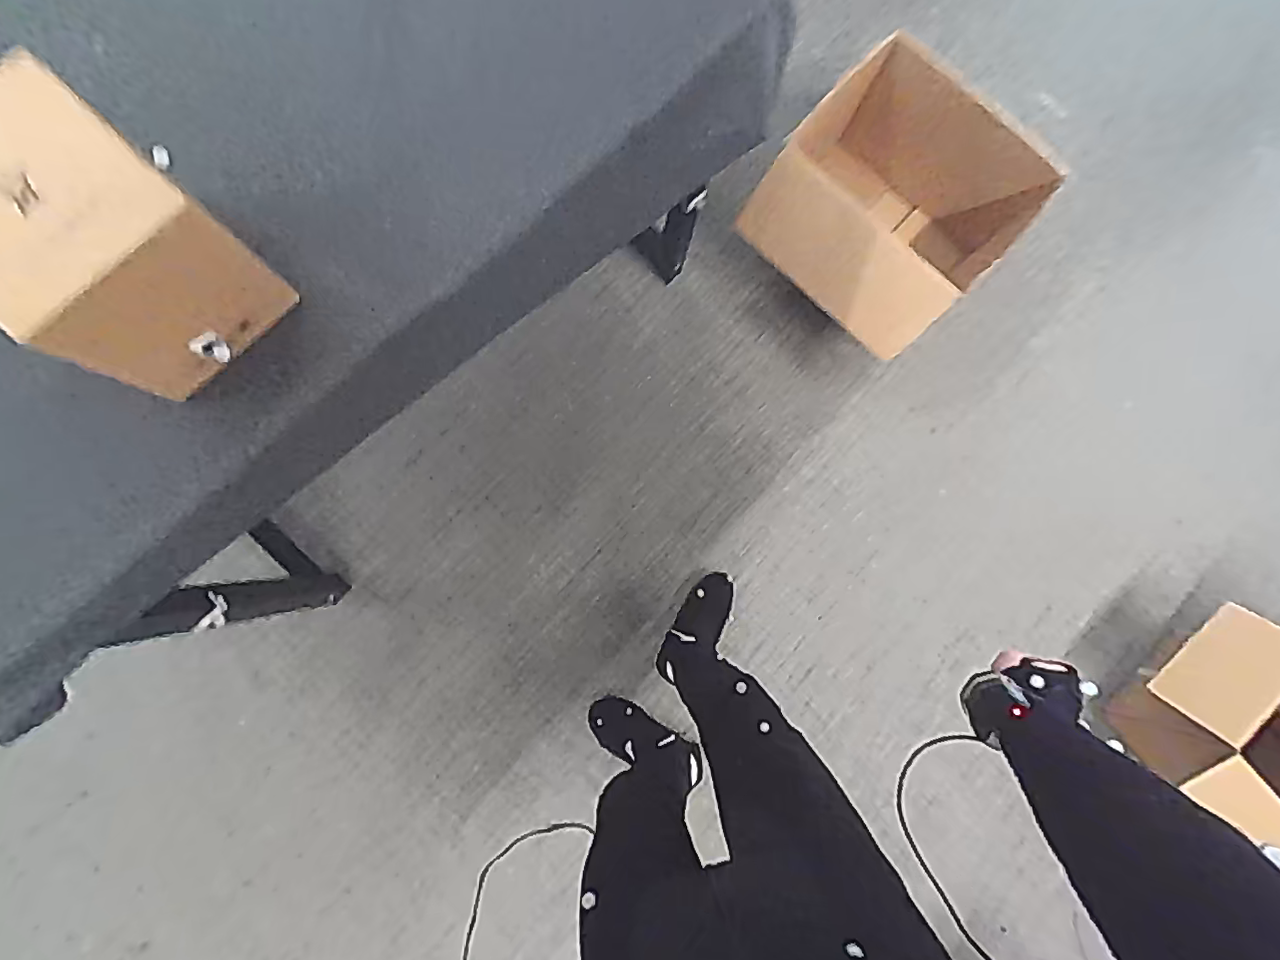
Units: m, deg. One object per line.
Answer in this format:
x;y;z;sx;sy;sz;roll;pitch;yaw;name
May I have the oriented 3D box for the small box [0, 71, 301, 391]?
-0.477;-0.212;0.508;0.179;0.176;0.168;41;80;2;small box
